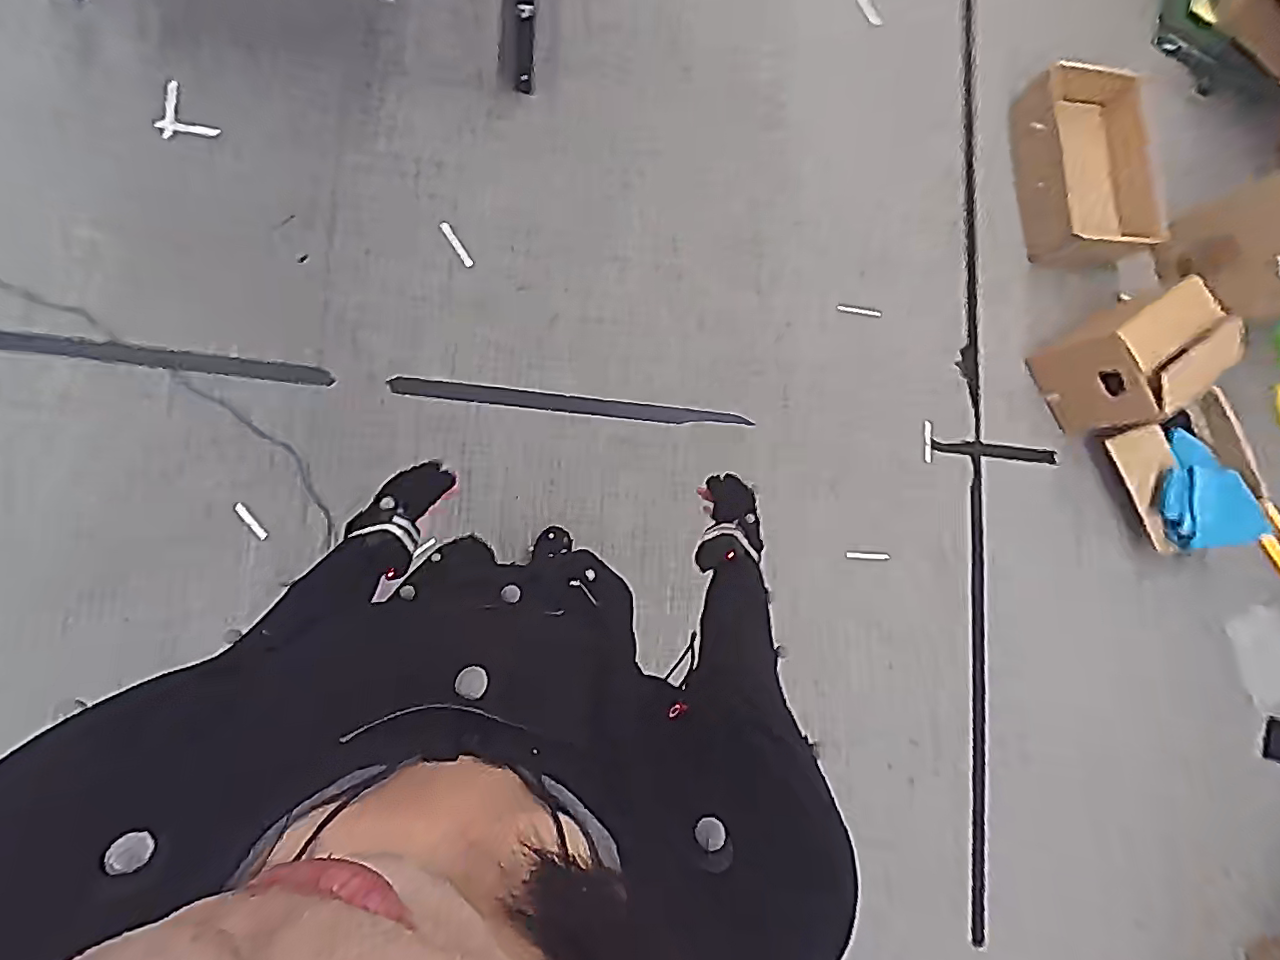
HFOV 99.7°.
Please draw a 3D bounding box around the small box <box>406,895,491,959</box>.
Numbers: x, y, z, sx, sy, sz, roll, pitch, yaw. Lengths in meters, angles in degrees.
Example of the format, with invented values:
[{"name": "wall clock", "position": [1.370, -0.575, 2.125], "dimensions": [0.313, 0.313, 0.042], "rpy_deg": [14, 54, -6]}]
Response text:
[{"name": "small box", "position": [-0.458, 1.142, 1.300], "dimensions": [0.179, 0.176, 0.168], "rpy_deg": [3, 85, -12]}]
